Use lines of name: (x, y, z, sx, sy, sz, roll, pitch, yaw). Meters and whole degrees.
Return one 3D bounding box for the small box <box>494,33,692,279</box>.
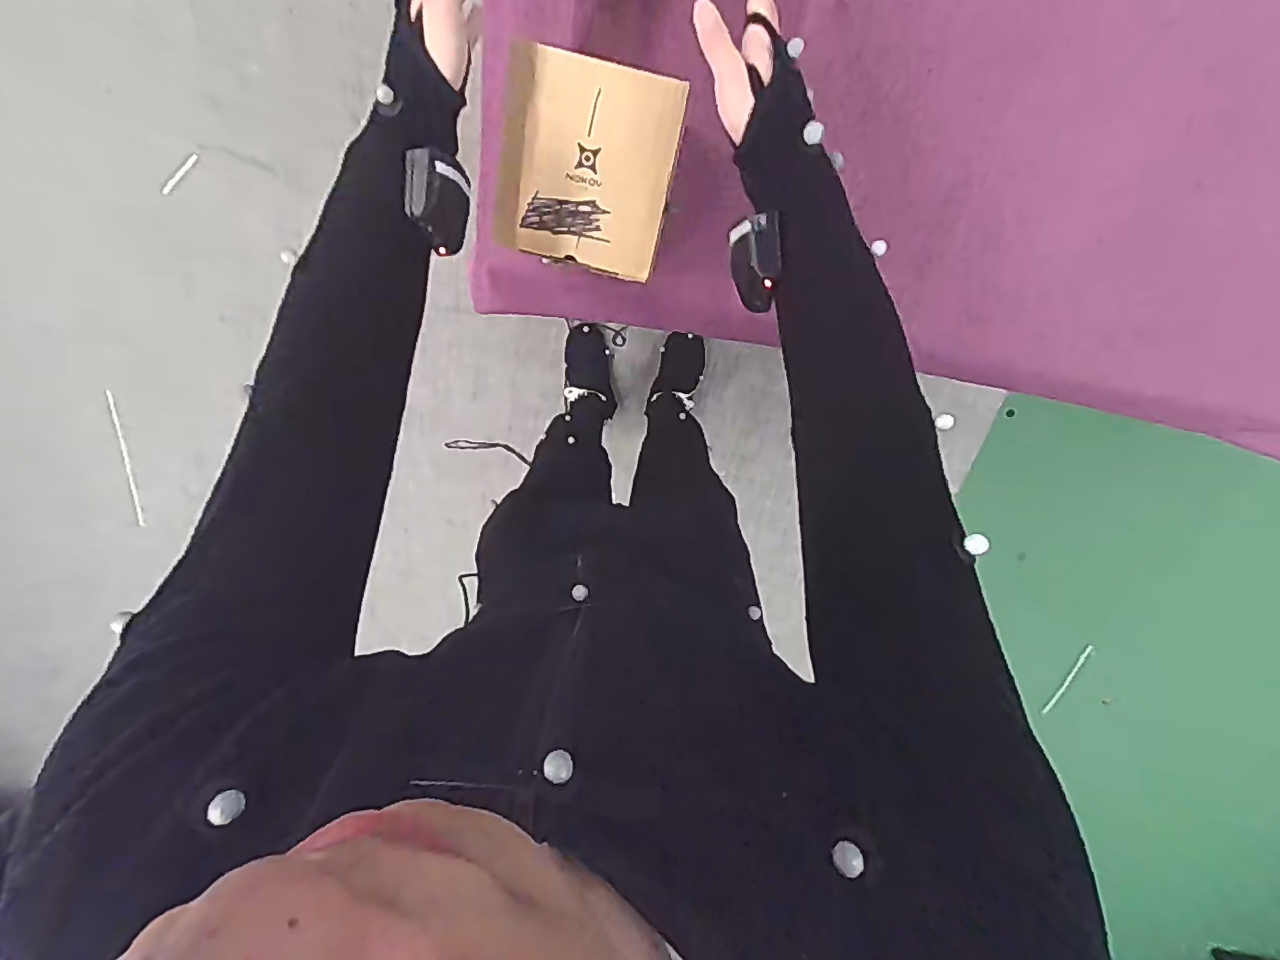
small box: (-0.046, -0.331, 0.587, 0.168, 0.176, 0.179, 13, 113, -4)
